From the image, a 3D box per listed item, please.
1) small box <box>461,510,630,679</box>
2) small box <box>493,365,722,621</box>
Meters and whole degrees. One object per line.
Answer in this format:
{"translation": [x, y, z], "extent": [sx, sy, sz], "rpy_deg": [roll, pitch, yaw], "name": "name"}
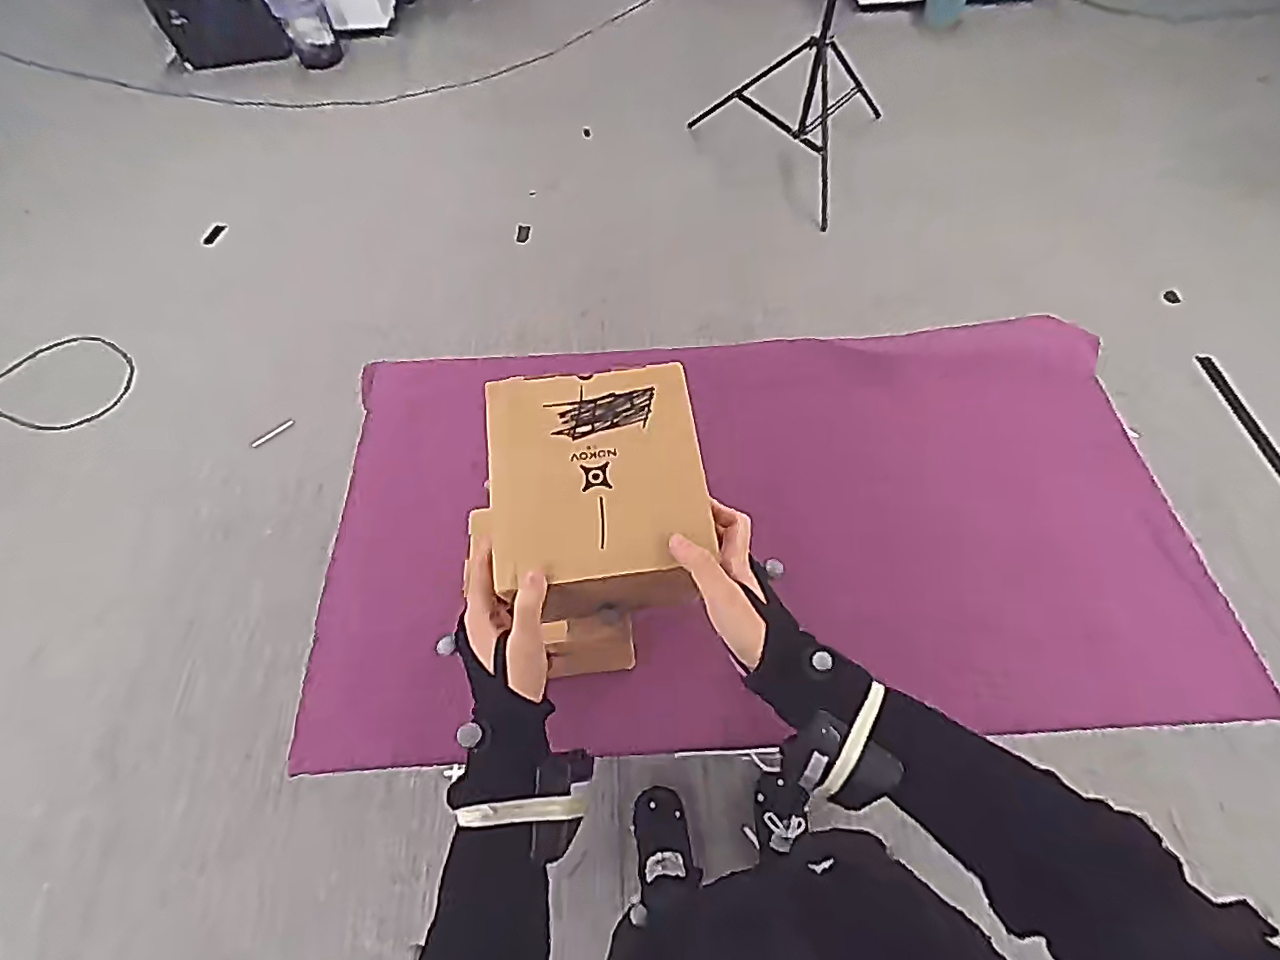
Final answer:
{"translation": [-0.105, 0.140, 0.664], "extent": [0.179, 0.176, 0.168], "rpy_deg": [-7, 61, -2], "name": "small box"}
{"translation": [-0.033, 0.021, 0.492], "extent": [0.168, 0.176, 0.179], "rpy_deg": [-7, 68, -4], "name": "small box"}
